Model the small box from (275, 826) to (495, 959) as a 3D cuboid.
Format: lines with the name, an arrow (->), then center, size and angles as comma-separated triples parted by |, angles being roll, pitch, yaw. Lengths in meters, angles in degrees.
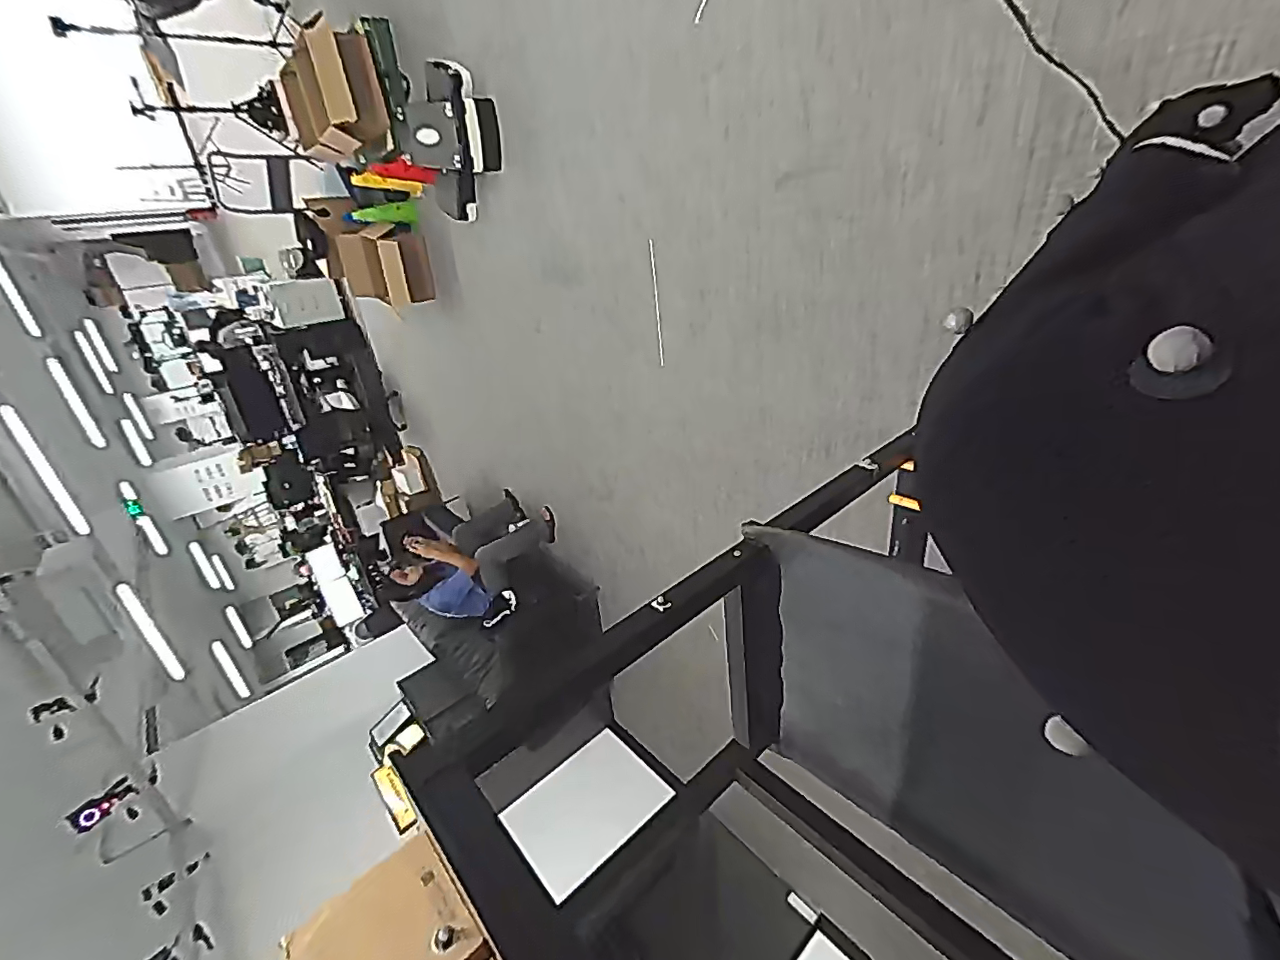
small box -> -0.277, 0.553, 0.621 | 0.168, 0.176, 0.179 | 25, 131, 42
